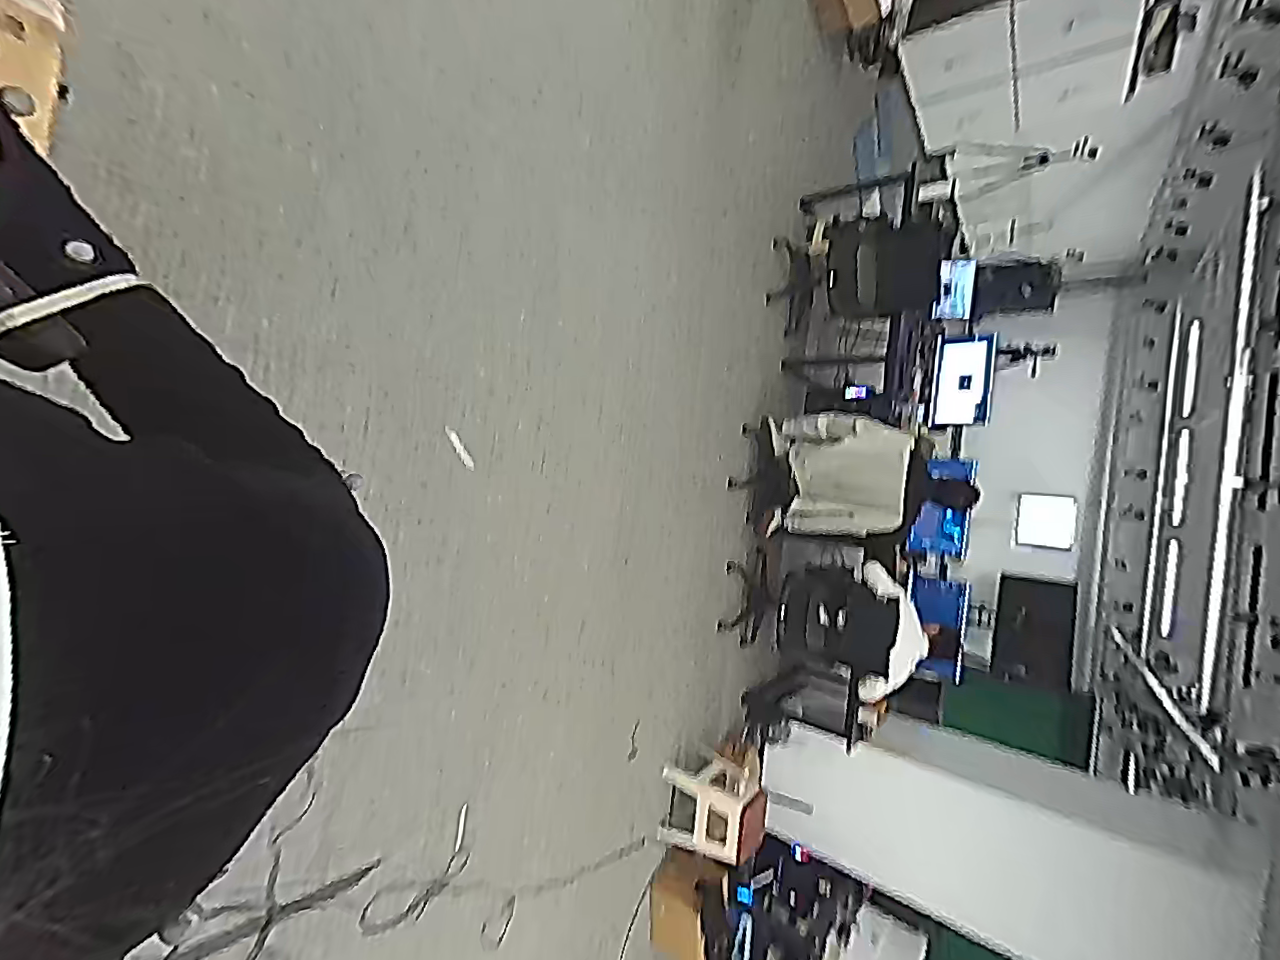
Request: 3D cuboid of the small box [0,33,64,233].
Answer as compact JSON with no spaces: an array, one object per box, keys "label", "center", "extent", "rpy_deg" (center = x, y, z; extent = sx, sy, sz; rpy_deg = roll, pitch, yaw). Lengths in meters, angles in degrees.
[{"label":"small box","center":[-0.752,-0.385,0.570],"extent":[0.168,0.176,0.179],"rpy_deg":[10,89,-54]}]
